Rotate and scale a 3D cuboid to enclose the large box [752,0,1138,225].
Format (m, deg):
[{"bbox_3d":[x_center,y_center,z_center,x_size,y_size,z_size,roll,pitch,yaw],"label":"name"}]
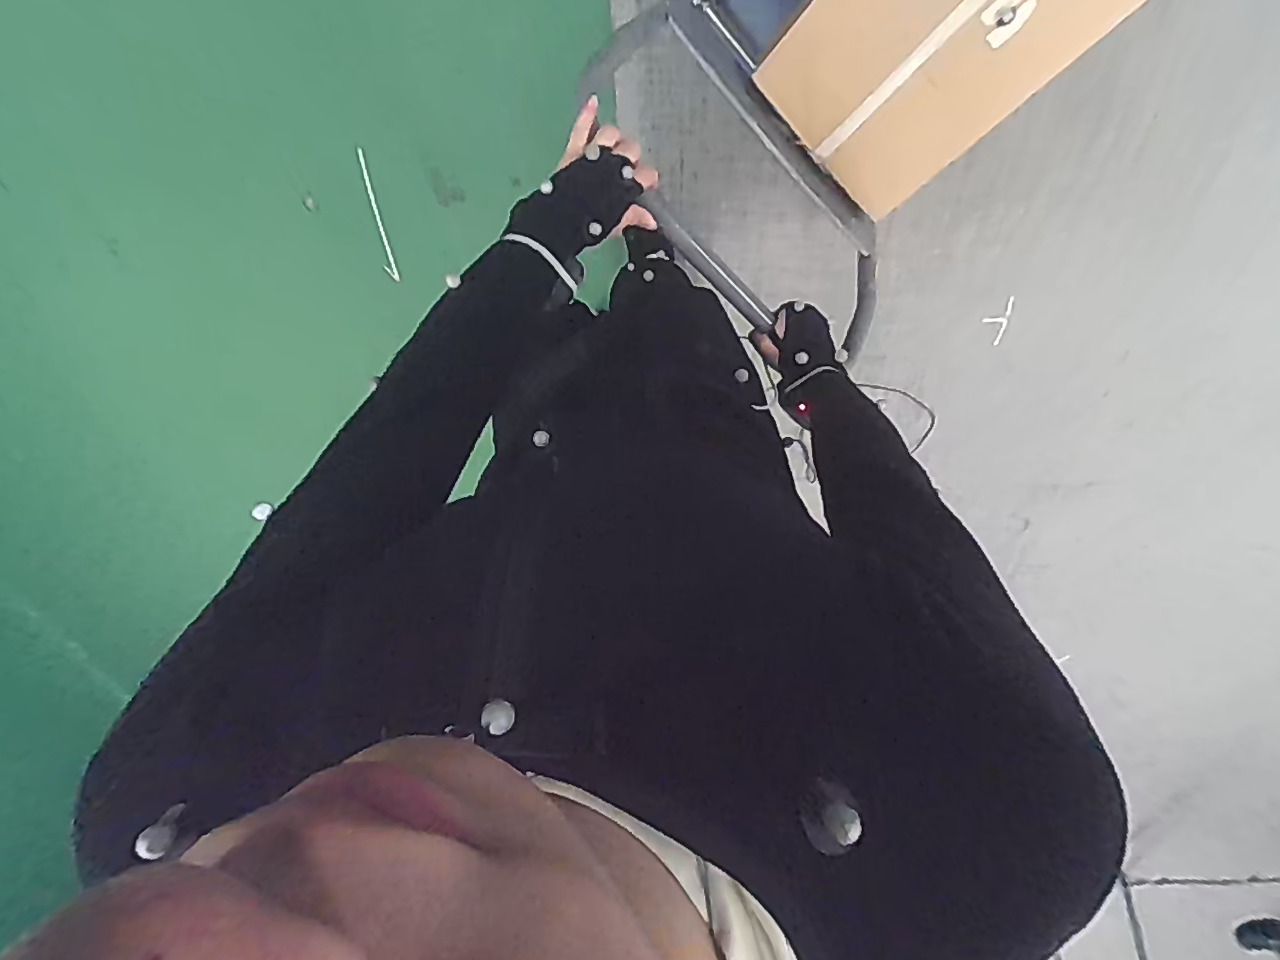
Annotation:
[{"bbox_3d":[0.441,-0.718,0.873,0.320,0.320,0.408,37,133,-20],"label":"large box"}]
